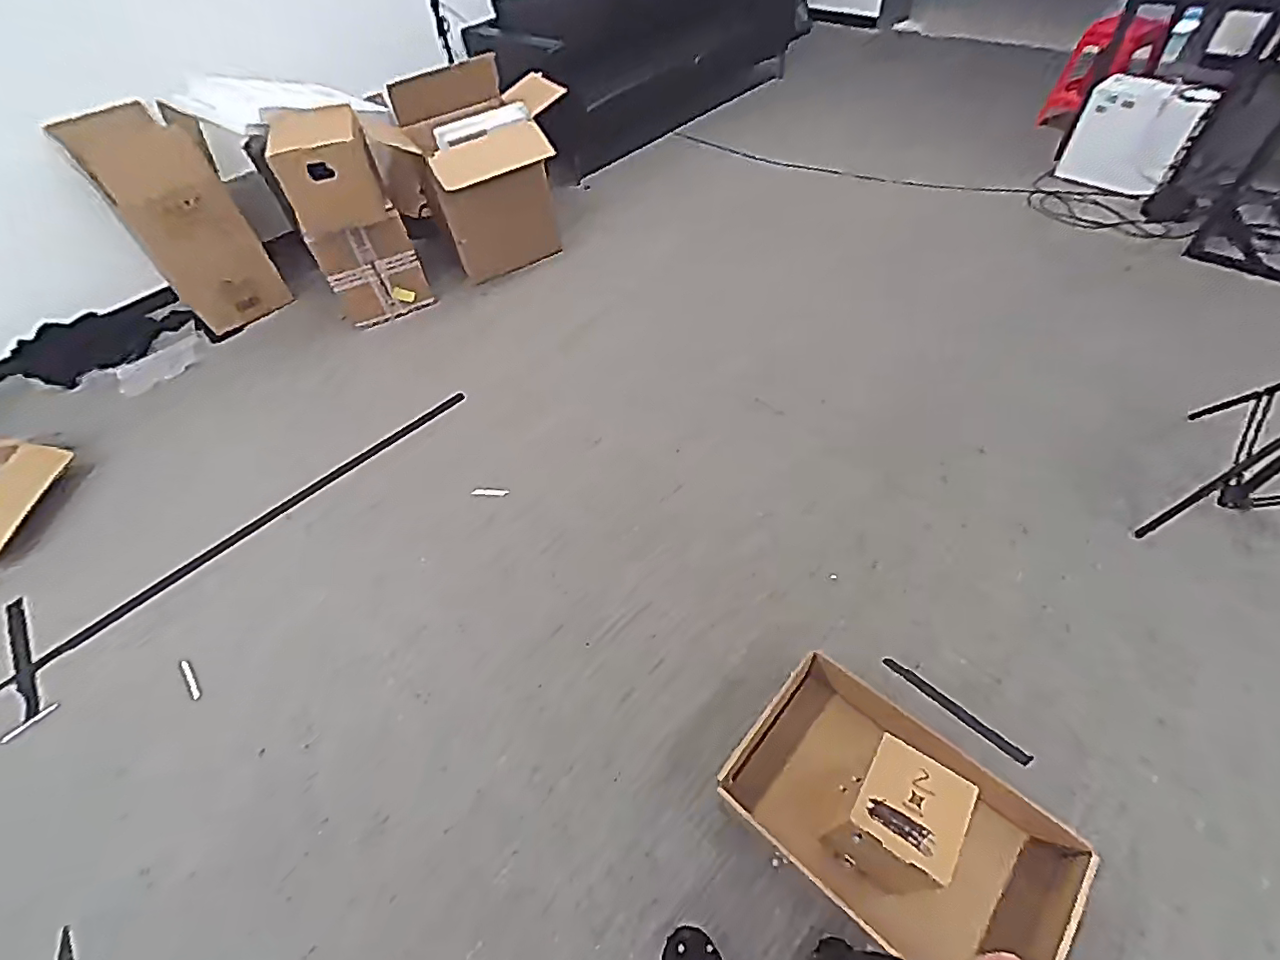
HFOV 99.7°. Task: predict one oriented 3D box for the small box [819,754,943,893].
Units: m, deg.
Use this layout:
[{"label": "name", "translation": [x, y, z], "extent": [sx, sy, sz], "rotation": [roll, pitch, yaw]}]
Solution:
[{"label": "small box", "translation": [0.492, 0.714, 1.126], "extent": [0.168, 0.176, 0.179], "rotation": [28, 61, 26]}]
